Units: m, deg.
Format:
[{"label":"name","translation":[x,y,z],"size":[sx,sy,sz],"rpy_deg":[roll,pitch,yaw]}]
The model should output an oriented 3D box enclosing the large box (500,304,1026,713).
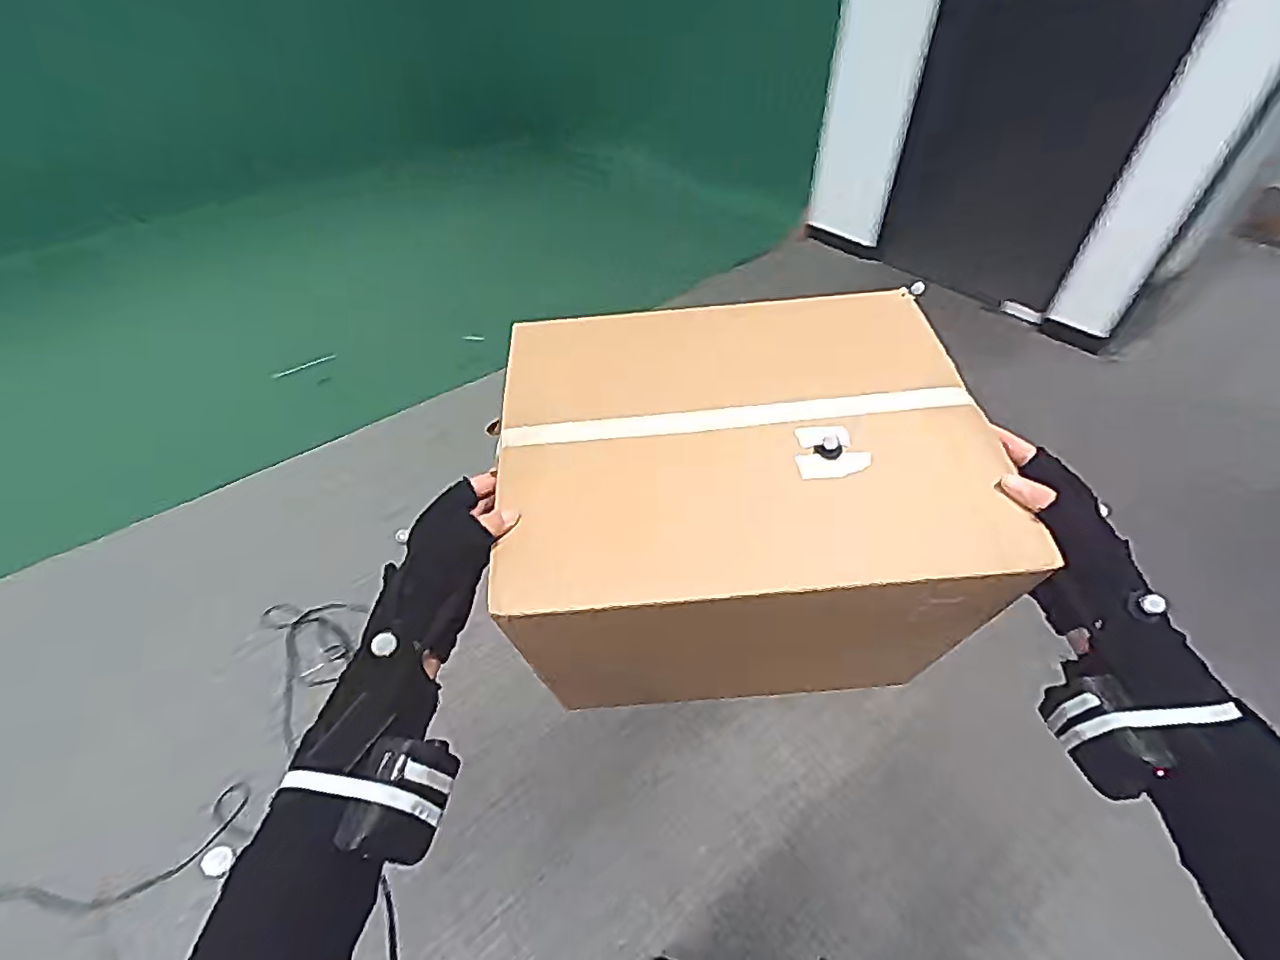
[{"label":"large box","translation":[0.082,0.044,0.602],"size":[0.408,0.320,0.320],"rpy_deg":[-6,56,-1]}]
